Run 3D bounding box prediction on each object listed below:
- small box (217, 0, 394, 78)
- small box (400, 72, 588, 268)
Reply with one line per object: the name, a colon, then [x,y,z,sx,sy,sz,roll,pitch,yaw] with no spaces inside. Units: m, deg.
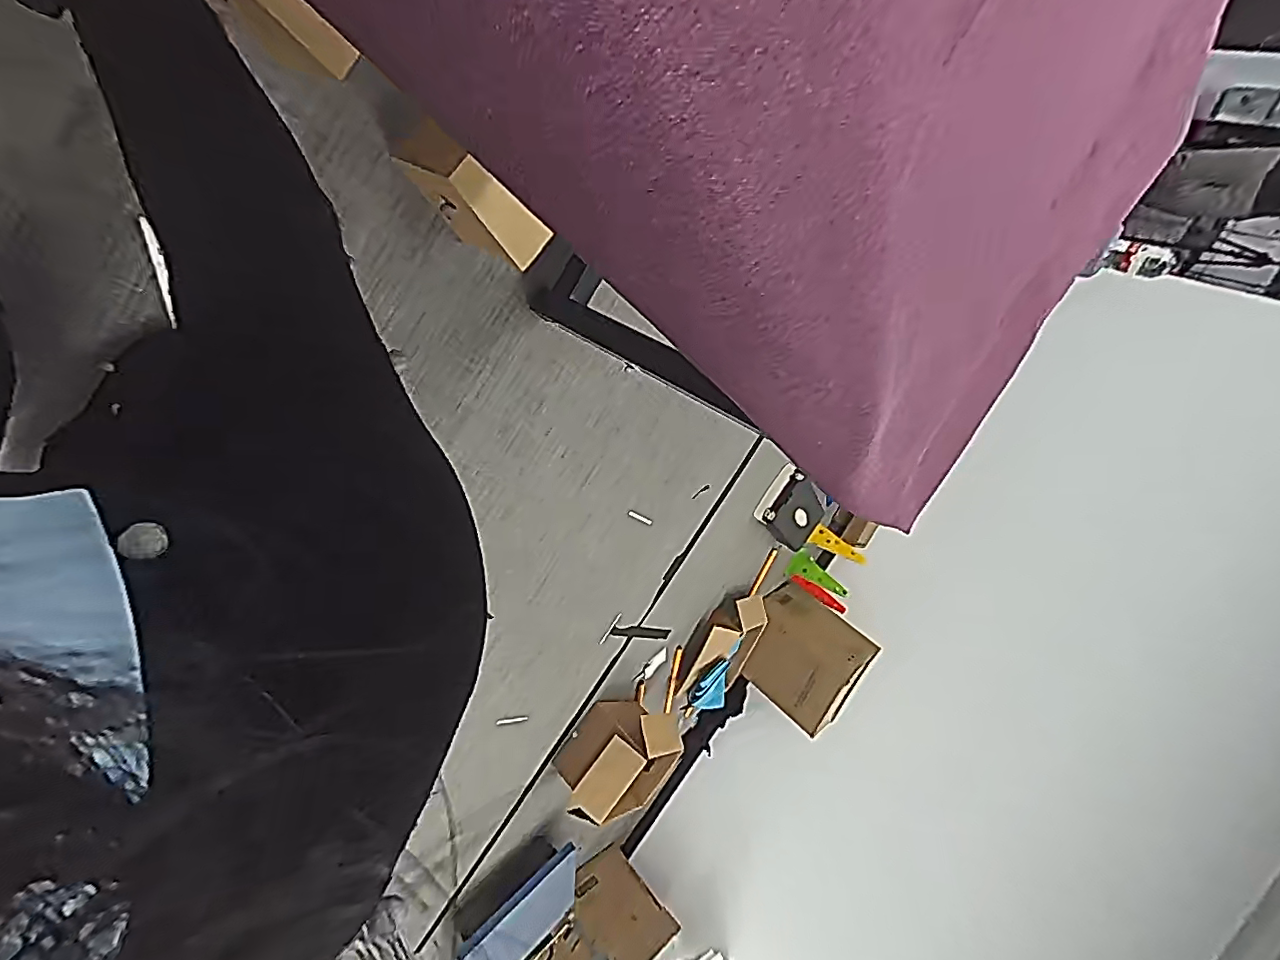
small box: [-0.349,-0.537,0.521,0.179,0.176,0.168,-56,149,1]
small box: [-0.215,-0.449,0.785,0.179,0.176,0.168,-53,148,-5]
